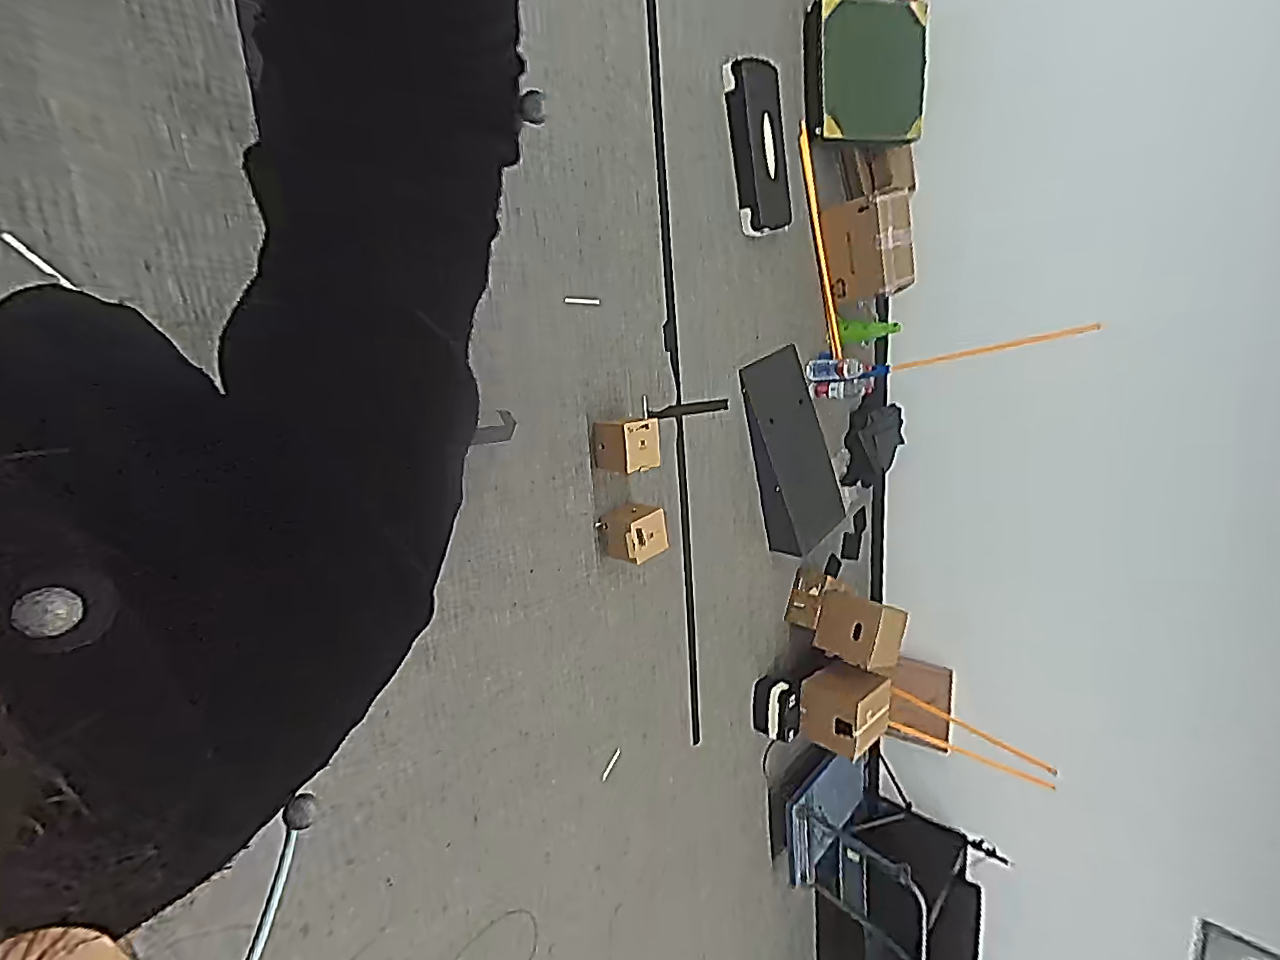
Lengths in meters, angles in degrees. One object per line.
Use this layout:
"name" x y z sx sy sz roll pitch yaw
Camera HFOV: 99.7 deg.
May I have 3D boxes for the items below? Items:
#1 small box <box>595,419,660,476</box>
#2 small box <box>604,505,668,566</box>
"small box" -0.047 -0.124 1.954 0.168 0.176 0.179 -15 107 -42
"small box" -0.021 0.202 2.030 0.179 0.176 0.168 -24 112 -40
